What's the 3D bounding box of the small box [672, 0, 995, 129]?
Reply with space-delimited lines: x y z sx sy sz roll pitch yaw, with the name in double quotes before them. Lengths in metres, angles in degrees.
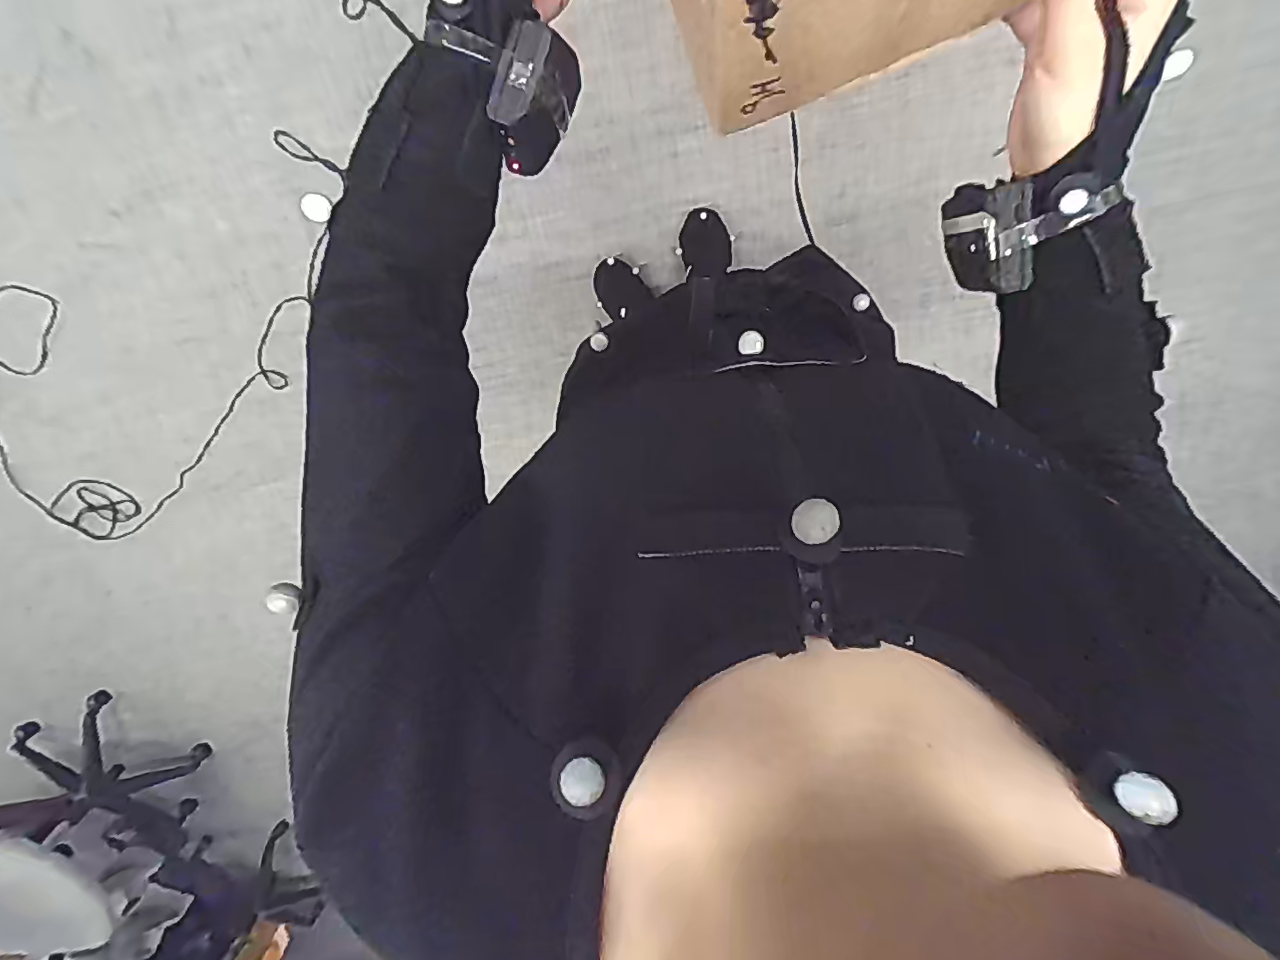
"small box" 0.087 -0.305 0.225 0.179 0.168 0.176 -21 92 9
